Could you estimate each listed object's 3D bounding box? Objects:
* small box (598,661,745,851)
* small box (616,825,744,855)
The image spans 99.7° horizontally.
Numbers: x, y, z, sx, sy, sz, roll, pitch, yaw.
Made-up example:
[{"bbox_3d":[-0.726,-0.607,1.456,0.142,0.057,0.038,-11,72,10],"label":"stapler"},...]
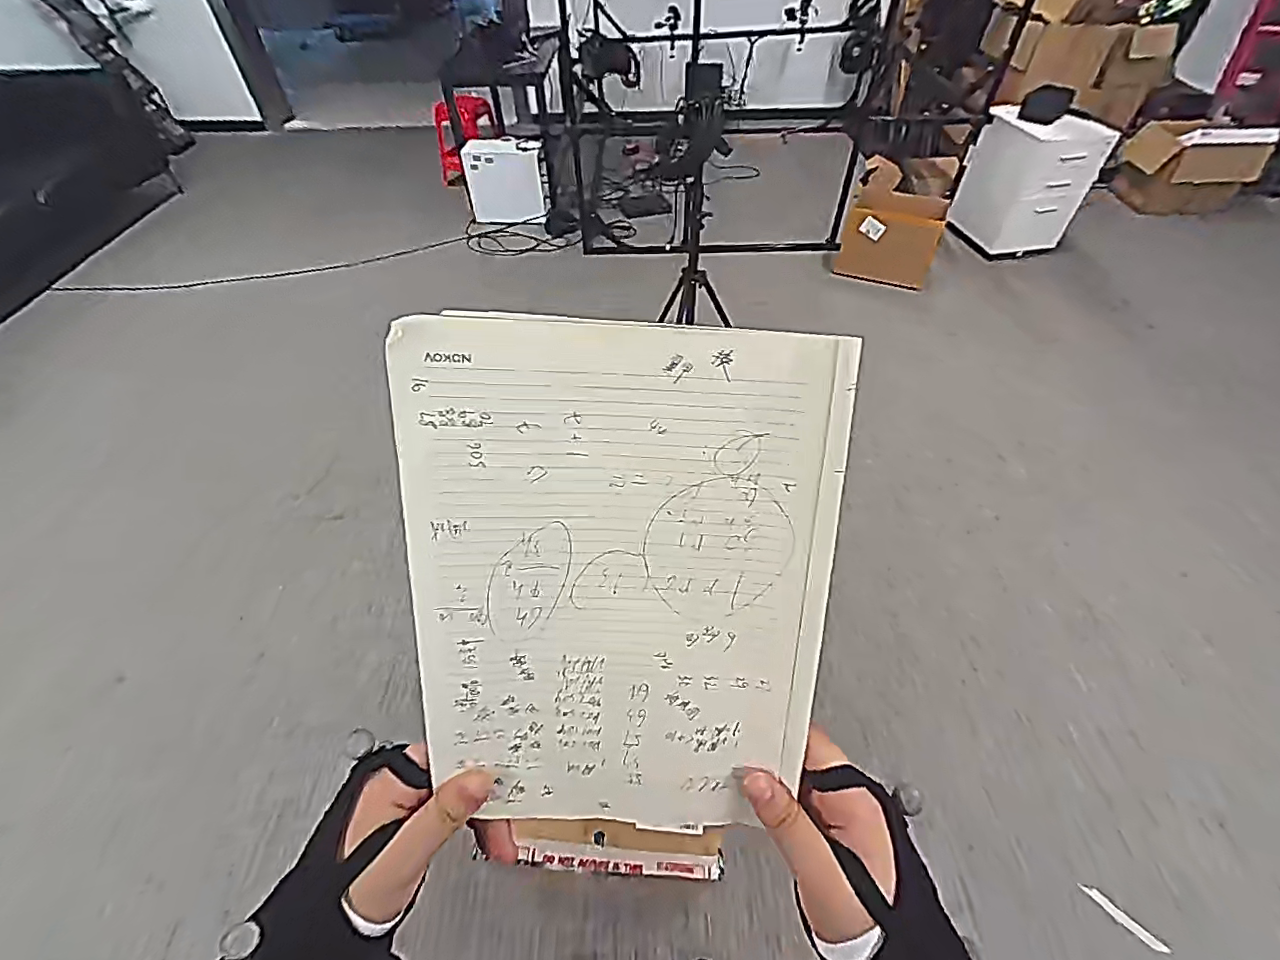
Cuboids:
[{"bbox_3d":[0.040,0.363,0.709,0.168,0.176,0.179,6,51,3],"label":"small box"},{"bbox_3d":[0.056,0.469,0.836,0.179,0.176,0.168,3,50,1],"label":"small box"}]
